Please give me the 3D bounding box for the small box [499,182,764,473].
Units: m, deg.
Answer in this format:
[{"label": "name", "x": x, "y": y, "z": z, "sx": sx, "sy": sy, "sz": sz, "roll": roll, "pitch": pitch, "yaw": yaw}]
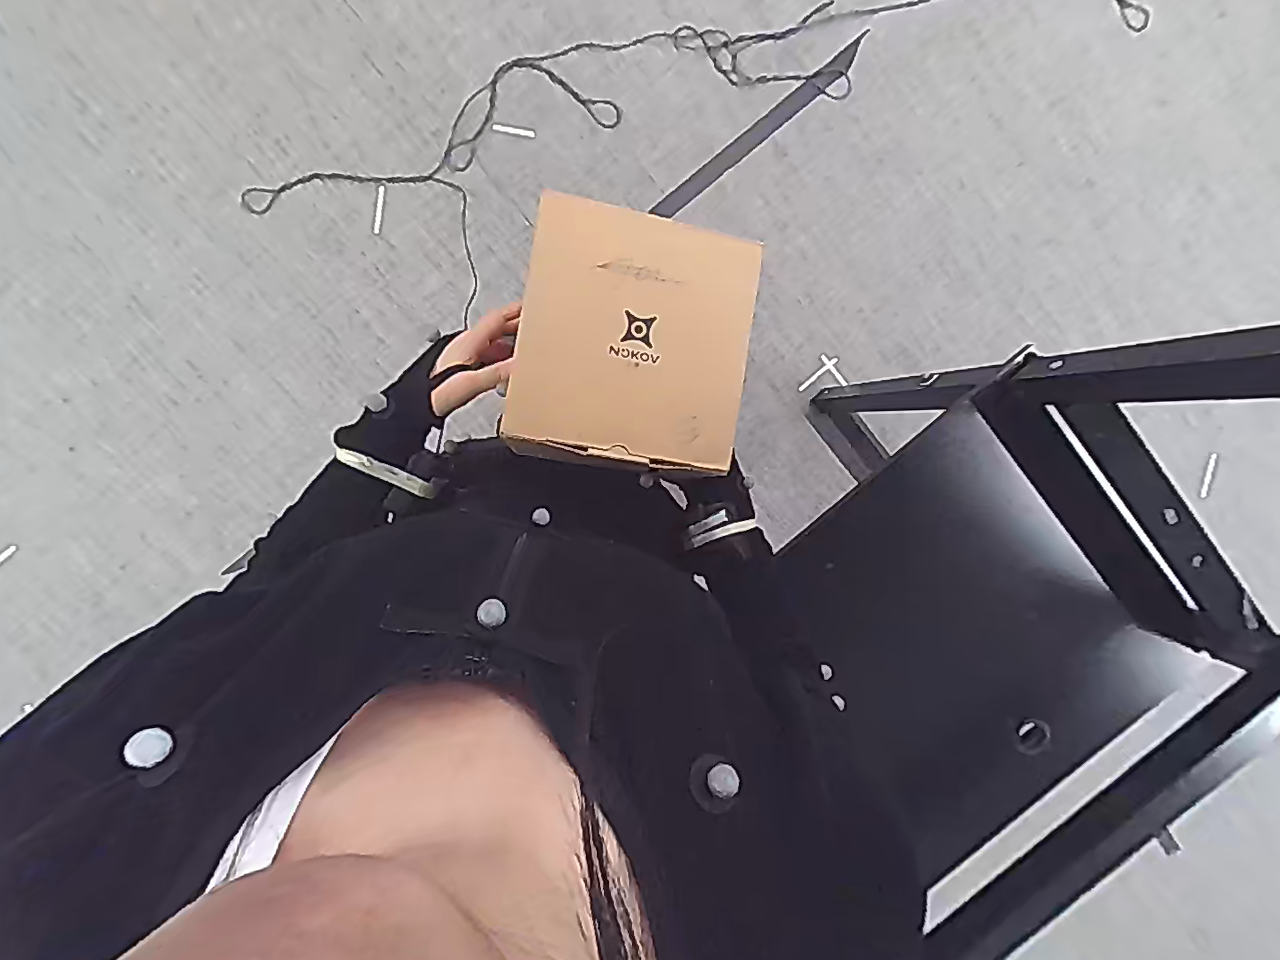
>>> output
[{"label": "small box", "x": -0.016, "y": -0.103, "z": 0.455, "sx": 0.168, "sy": 0.176, "sz": 0.179, "roll": 9, "pitch": 87, "yaw": -11}]
